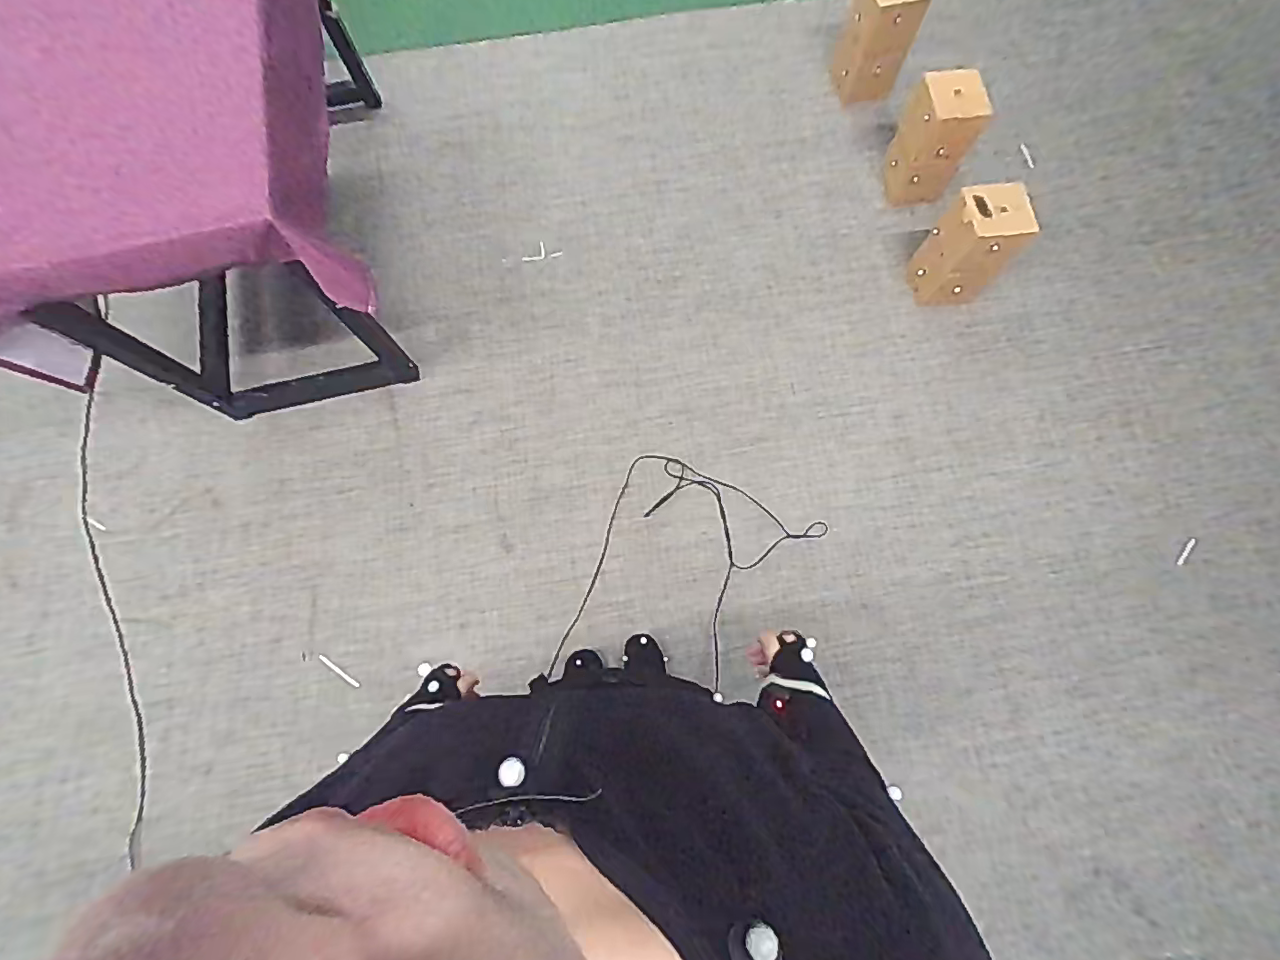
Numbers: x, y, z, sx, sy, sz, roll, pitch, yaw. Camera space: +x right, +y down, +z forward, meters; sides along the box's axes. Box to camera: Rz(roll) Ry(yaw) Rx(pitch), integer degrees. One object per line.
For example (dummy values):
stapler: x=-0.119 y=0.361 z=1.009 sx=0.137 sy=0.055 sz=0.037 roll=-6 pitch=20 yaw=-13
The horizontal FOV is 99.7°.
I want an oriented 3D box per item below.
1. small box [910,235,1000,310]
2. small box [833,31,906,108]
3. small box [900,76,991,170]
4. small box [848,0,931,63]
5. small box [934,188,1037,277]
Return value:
small box: x=0.977 y=-0.655 z=1.703 sx=0.179 sy=0.176 sz=0.168 roll=-7 pitch=75 yaw=-1
small box: x=0.806 y=-1.465 z=1.925 sx=0.179 sy=0.176 sz=0.168 roll=-10 pitch=76 yaw=-3
small box: x=0.922 y=-1.087 z=1.651 sx=0.168 sy=0.176 sz=0.179 roll=-6 pitch=75 yaw=-2
small box: x=0.802 y=-1.509 z=1.767 sx=0.179 sy=0.176 sz=0.168 roll=-12 pitch=76 yaw=-3
small box: x=0.972 y=-0.700 z=1.544 sx=0.179 sy=0.176 sz=0.168 roll=-5 pitch=75 yaw=-2
